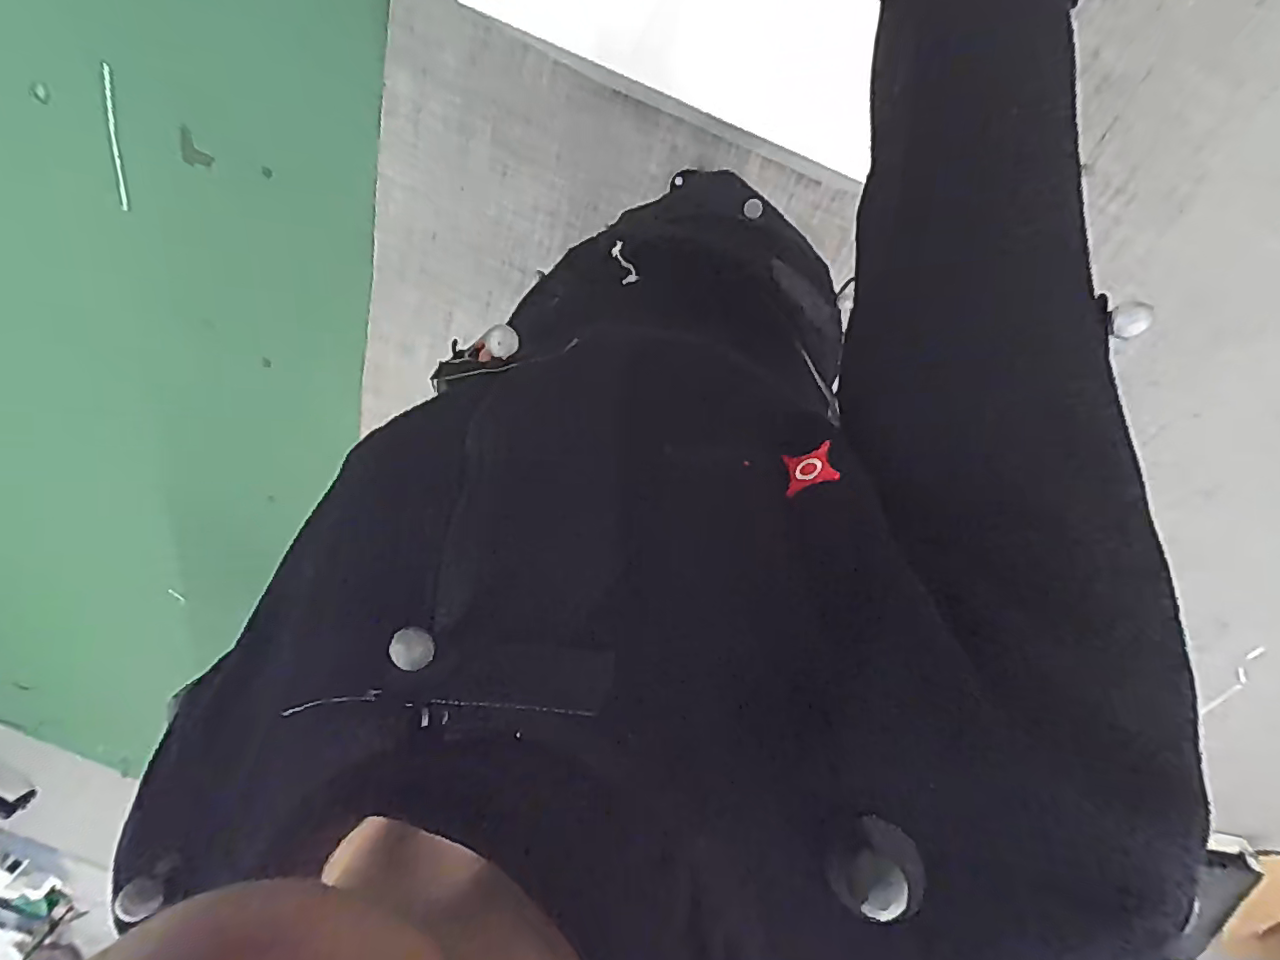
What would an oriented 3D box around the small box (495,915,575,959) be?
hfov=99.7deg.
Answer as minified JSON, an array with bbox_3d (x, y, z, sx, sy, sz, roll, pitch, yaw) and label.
[{"bbox_3d":[-0.258,1.136,1.220,0.168,0.176,0.179,18,120,2],"label":"small box"}]
